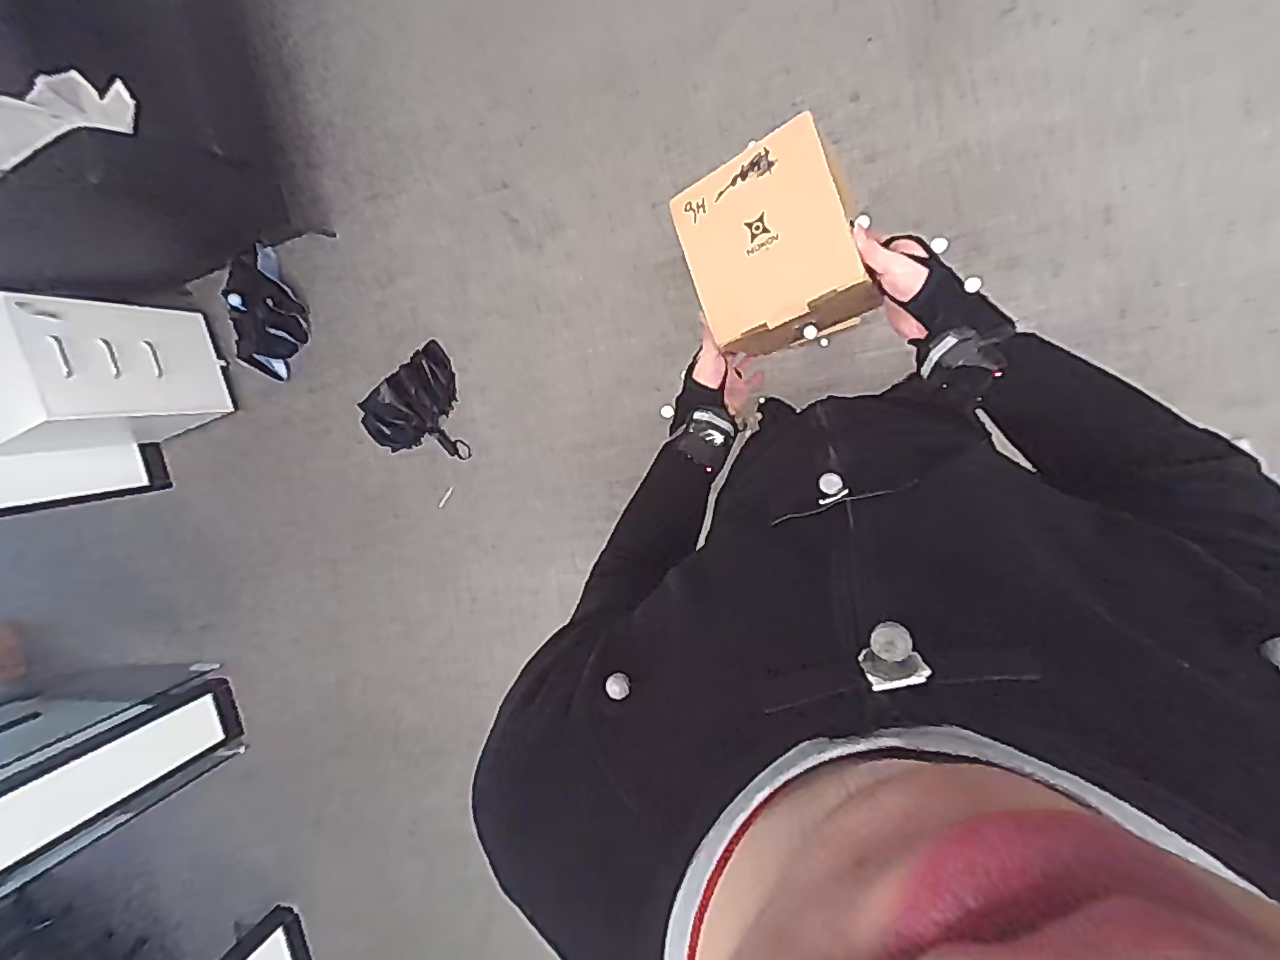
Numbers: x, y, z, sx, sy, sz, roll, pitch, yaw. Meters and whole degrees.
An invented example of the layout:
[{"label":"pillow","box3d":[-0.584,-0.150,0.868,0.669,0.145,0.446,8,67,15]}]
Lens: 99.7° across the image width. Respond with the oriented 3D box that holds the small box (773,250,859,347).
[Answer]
[{"label":"small box","box3d":[0.439,-0.442,1.347,0.168,0.176,0.179,-14,96,23]}]
